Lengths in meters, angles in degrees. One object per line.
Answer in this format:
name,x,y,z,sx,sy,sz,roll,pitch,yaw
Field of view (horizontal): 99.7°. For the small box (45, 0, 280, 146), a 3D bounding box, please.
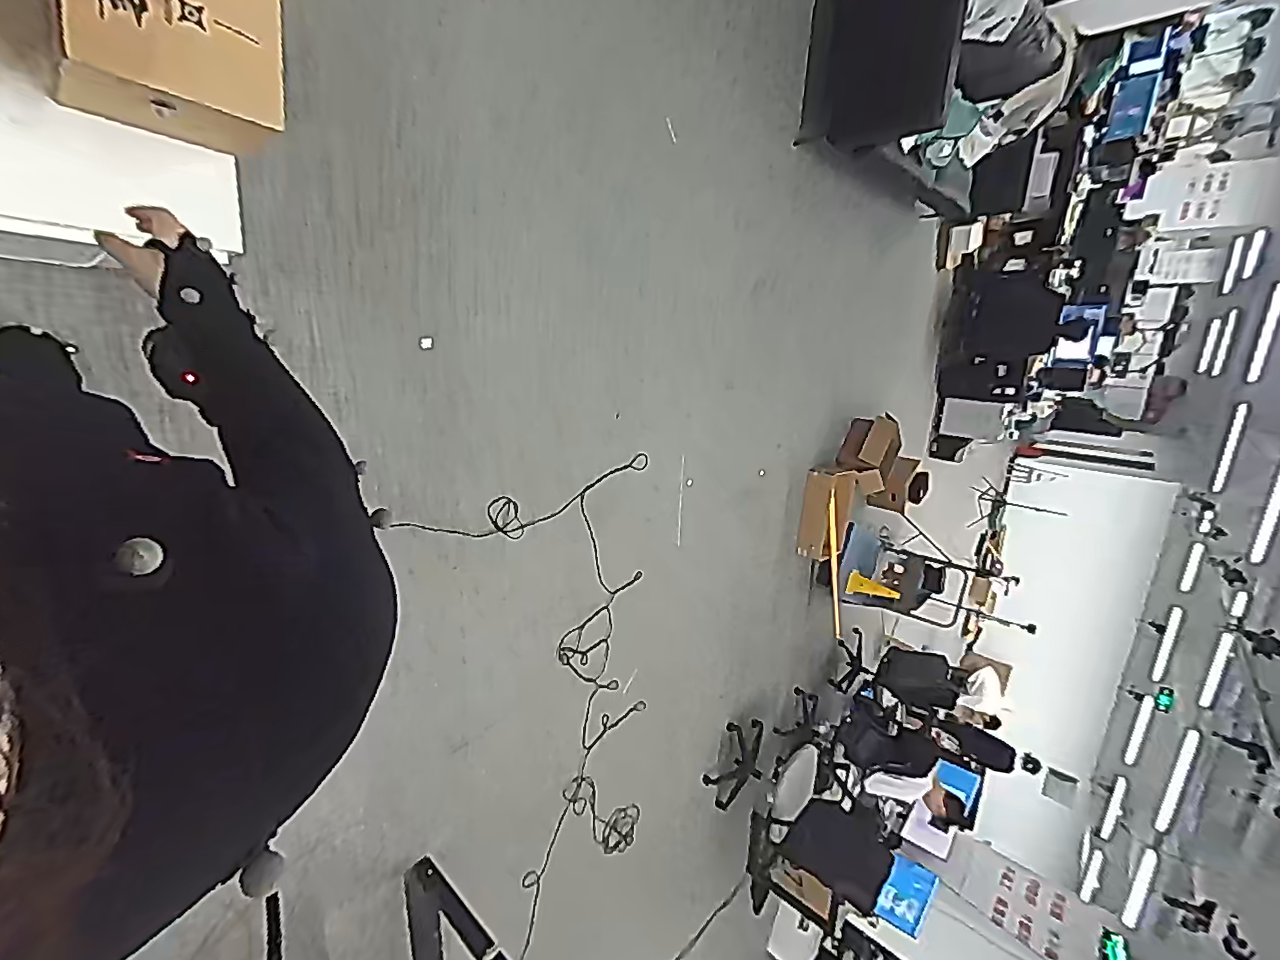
small box,-0.517,-0.491,0.587,0.179,0.176,0.168,-7,107,-48
